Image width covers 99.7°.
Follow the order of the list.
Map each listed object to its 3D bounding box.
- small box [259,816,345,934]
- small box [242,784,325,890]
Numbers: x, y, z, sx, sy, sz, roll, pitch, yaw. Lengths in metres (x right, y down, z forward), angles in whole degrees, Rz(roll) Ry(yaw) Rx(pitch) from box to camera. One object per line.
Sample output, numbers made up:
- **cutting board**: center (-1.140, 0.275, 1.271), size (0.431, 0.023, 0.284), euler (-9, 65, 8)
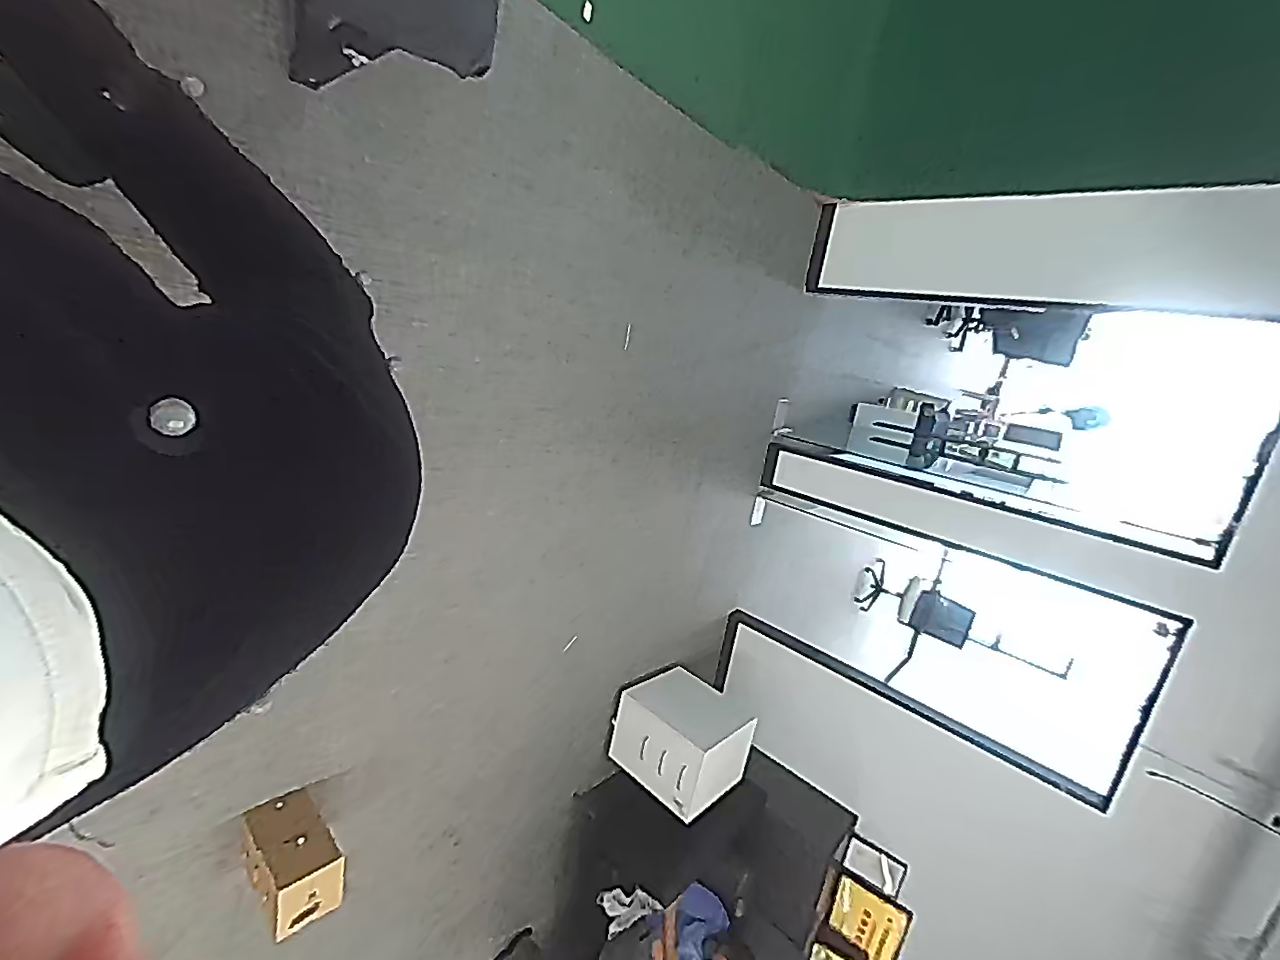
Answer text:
- **small box**: center (-0.968, 1.119, 1.547), size (0.168, 0.176, 0.179), euler (-6, 111, -50)
- **small box**: center (-1.091, 1.079, 1.650), size (0.179, 0.176, 0.168), euler (-4, 110, -49)
